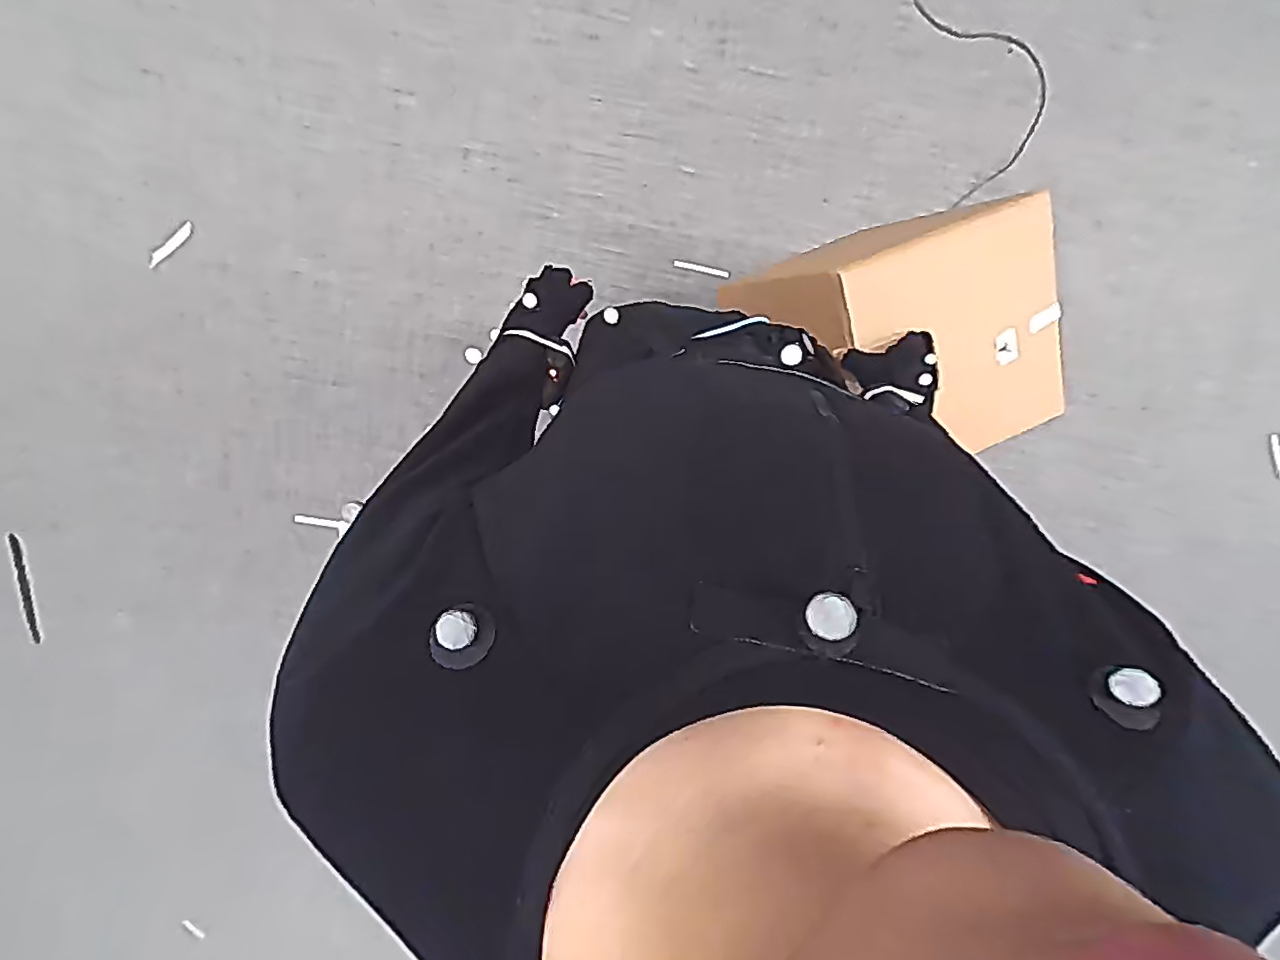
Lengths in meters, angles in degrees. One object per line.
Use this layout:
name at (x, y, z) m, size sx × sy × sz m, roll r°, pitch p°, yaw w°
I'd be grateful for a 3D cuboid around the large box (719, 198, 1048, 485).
large box at (0.380, -0.234, 0.921) m, size 0.320 × 0.408 × 0.320 m, roll -22°, pitch 110°, yaw -6°
